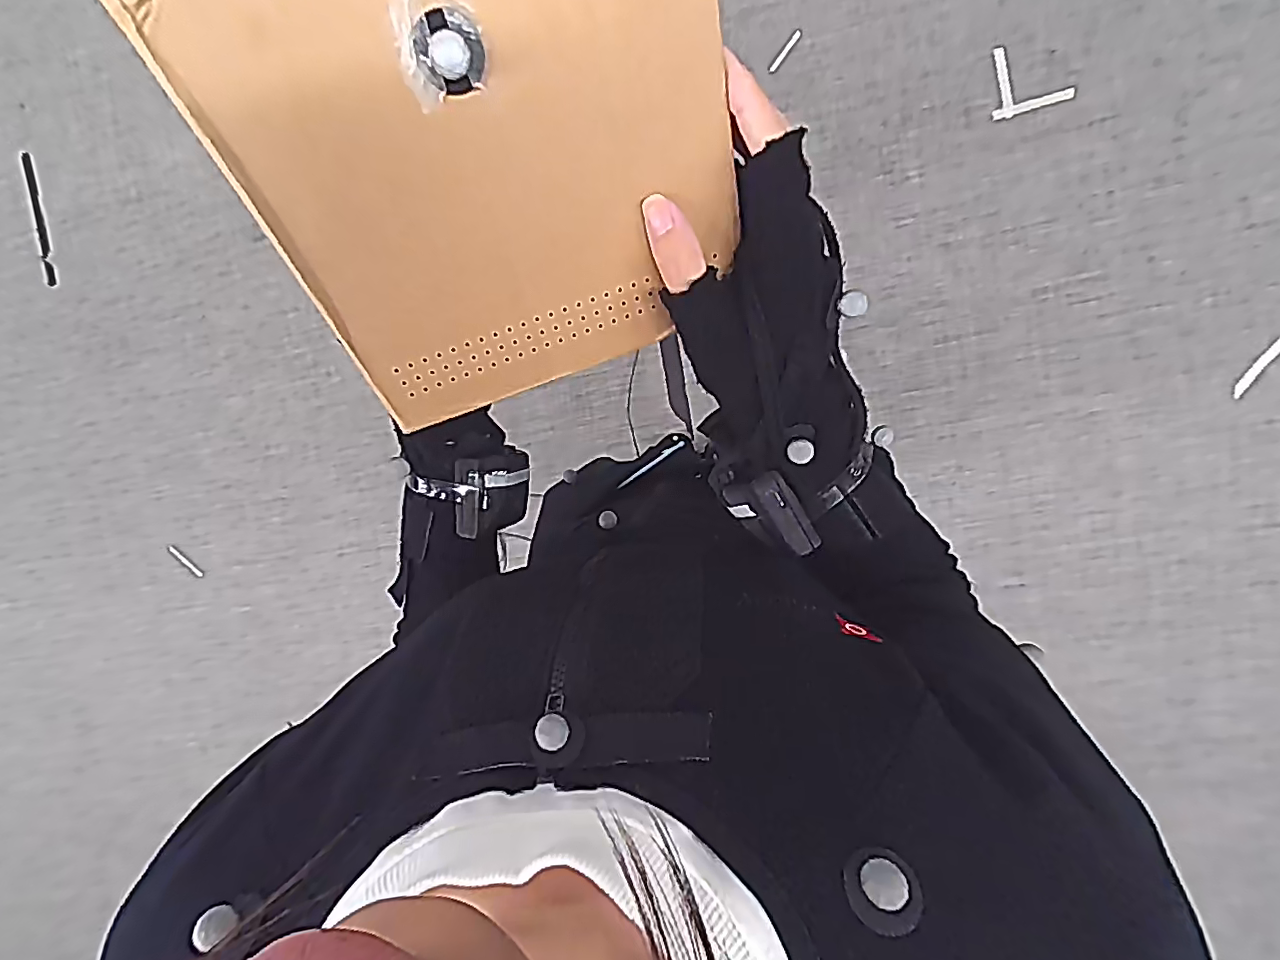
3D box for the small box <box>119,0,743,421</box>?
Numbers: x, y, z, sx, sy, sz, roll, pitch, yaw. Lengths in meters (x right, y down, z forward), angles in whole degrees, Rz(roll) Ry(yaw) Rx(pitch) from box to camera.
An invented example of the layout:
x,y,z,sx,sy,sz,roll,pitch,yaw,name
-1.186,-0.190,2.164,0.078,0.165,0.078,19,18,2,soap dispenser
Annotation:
x,y,z,sx,sy,sz,roll,pitch,yaw,name
-0.065,-0.155,0.263,0.179,0.168,0.176,-21,134,-2,small box
